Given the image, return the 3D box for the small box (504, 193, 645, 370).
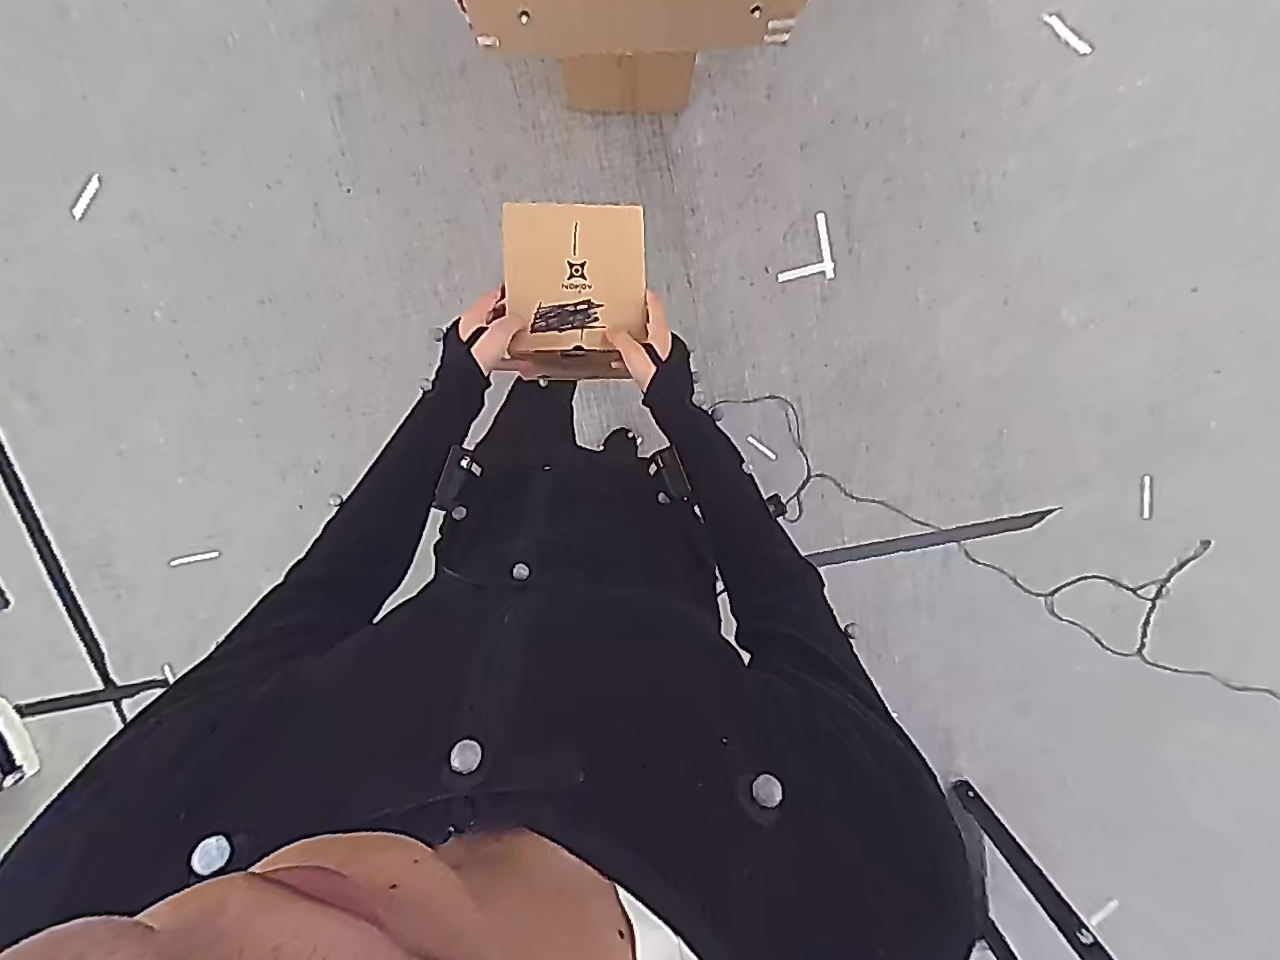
[{"bbox_3d":[-0.082,-0.244,0.707,0.168,0.176,0.179,-1,89,-6],"label":"small box"}]
